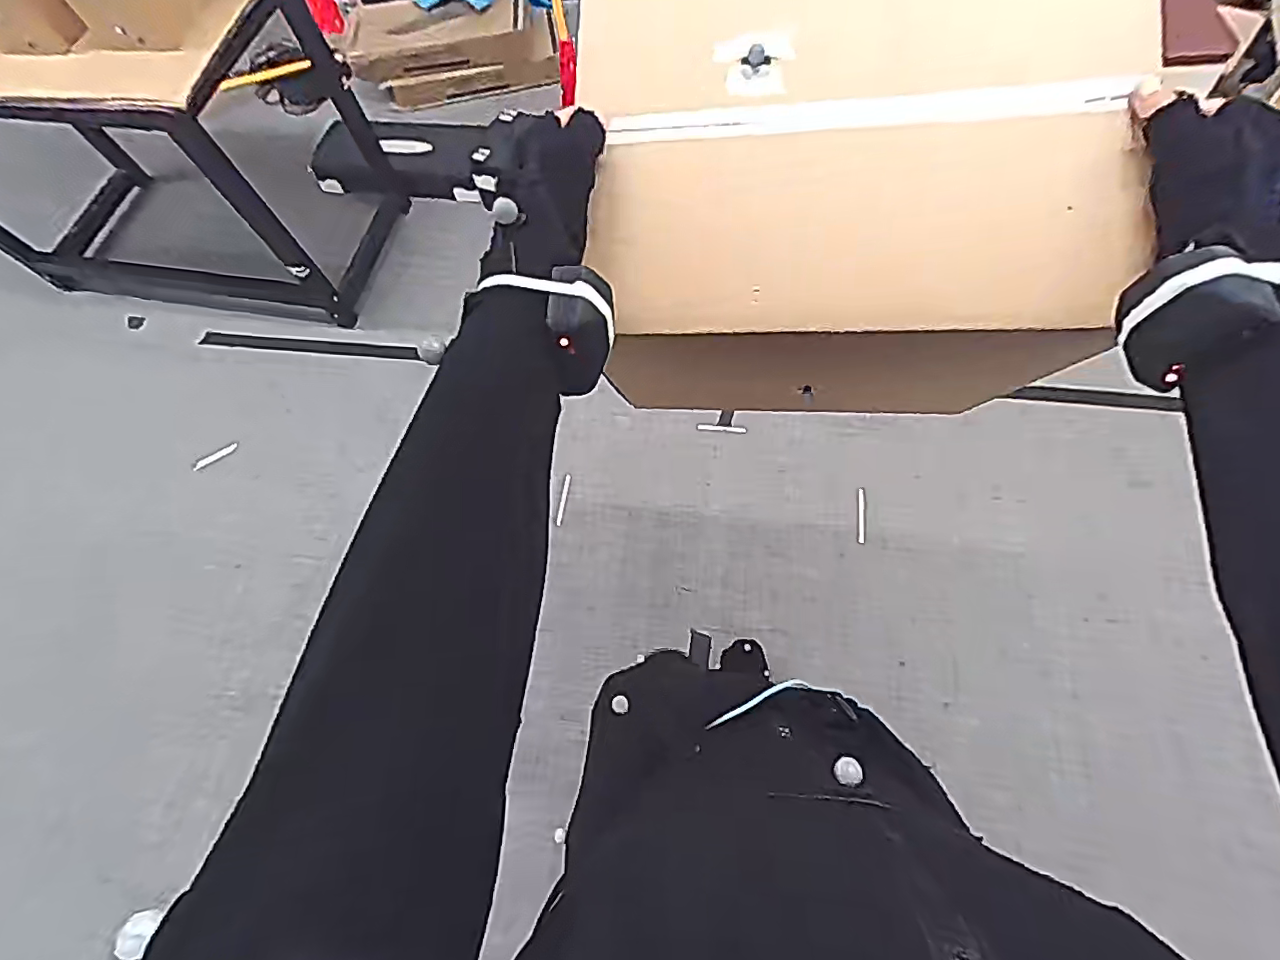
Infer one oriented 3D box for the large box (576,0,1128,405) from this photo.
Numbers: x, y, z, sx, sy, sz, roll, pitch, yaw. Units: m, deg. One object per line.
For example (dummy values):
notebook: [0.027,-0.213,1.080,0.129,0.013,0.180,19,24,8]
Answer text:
large box: [0.175,-0.255,0.561,0.408,0.320,0.320,2,86,10]
